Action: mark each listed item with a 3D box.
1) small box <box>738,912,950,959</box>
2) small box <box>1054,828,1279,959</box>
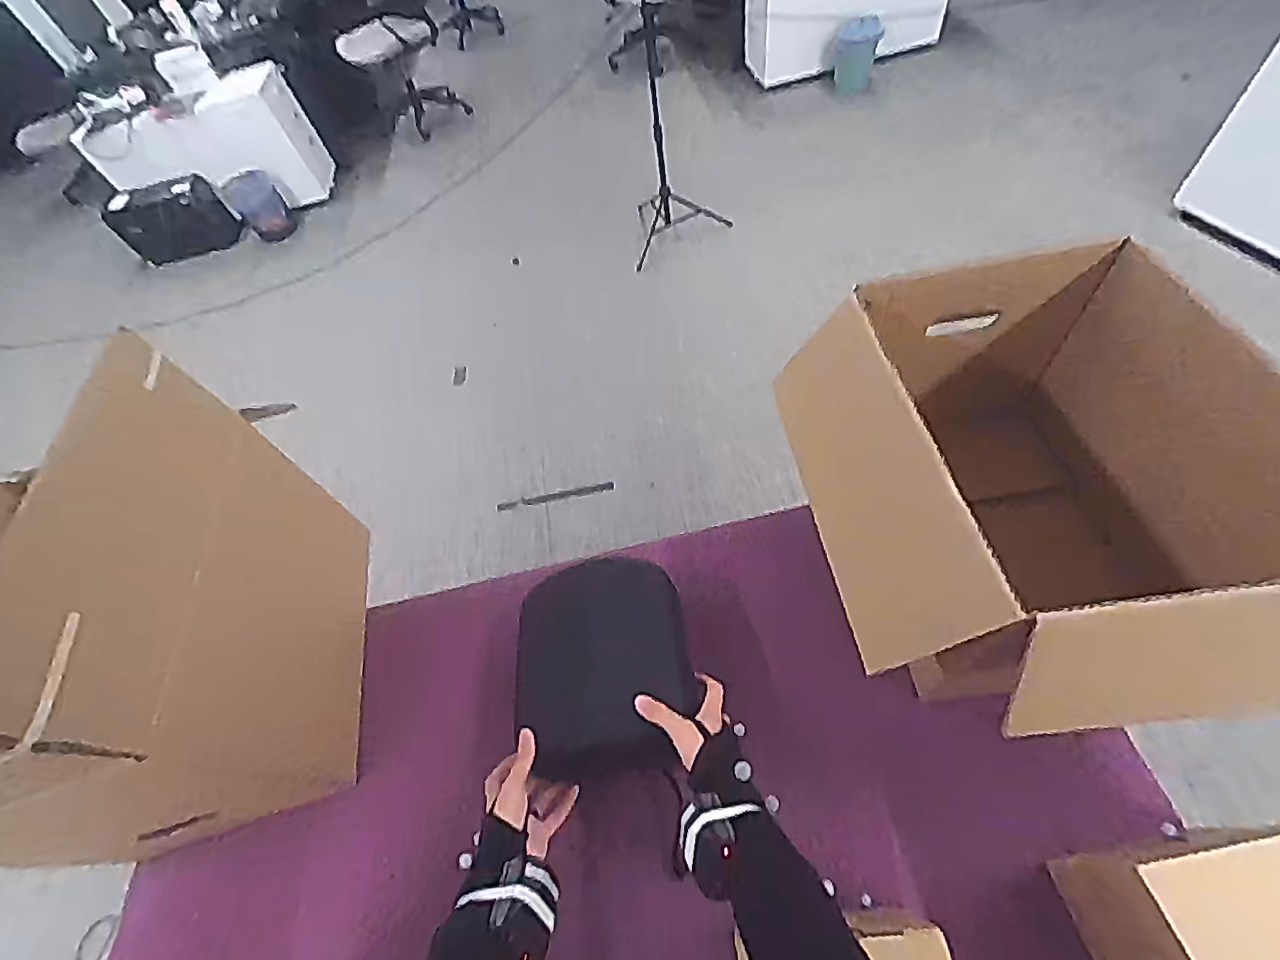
[{"bbox_3d":[0.174,0.482,0.455,0.168,0.176,0.179,-7,57,6],"label":"small box"},{"bbox_3d":[0.498,0.402,0.443,0.168,0.176,0.179,-14,55,3],"label":"small box"}]
